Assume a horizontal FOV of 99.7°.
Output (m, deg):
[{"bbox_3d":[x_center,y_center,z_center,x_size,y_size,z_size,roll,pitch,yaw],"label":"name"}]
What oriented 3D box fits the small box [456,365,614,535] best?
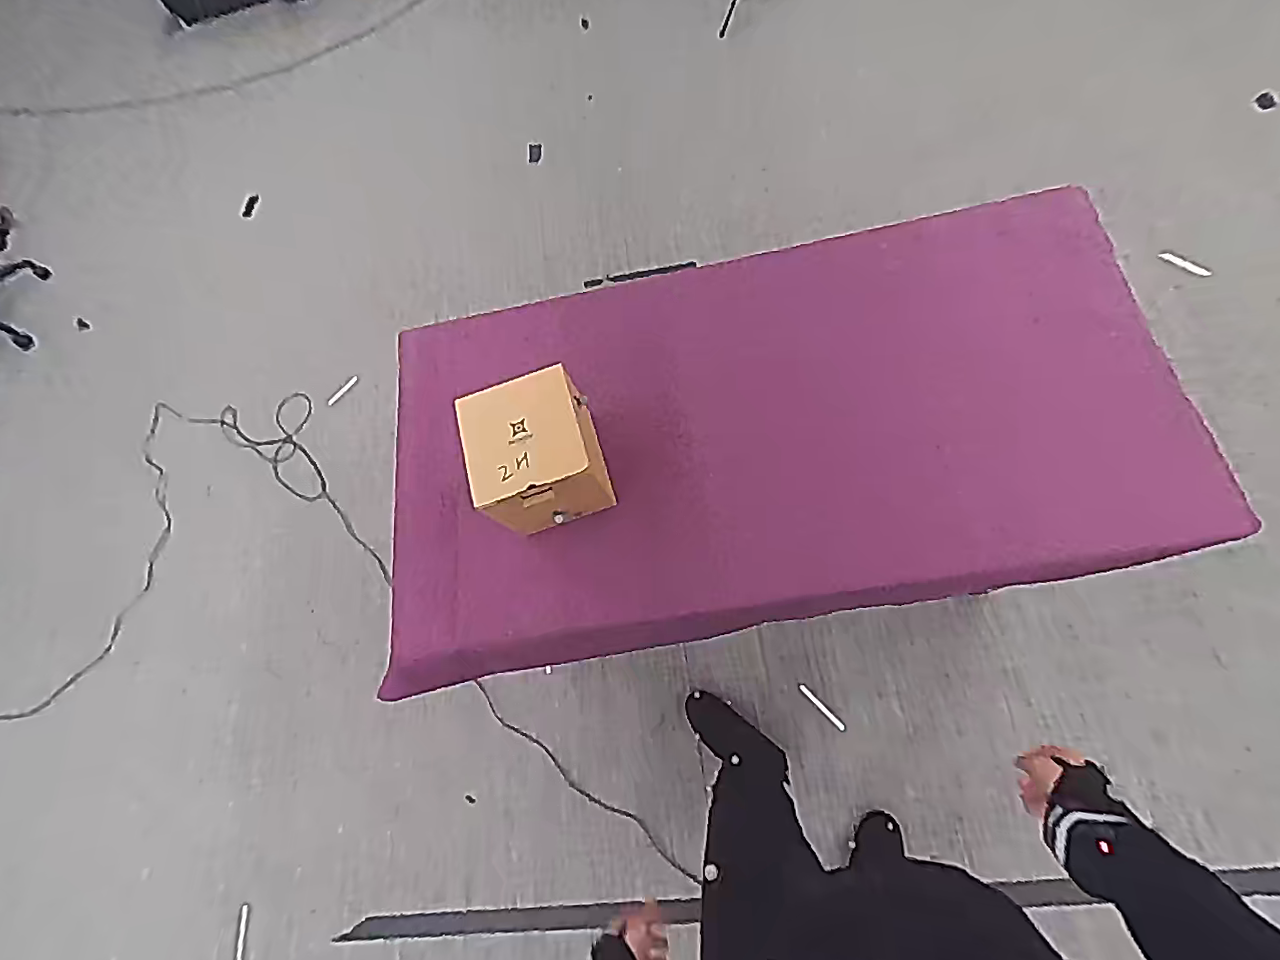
[{"bbox_3d":[-0.151,-0.037,0.811,0.168,0.176,0.179,-19,69,4],"label":"small box"}]
